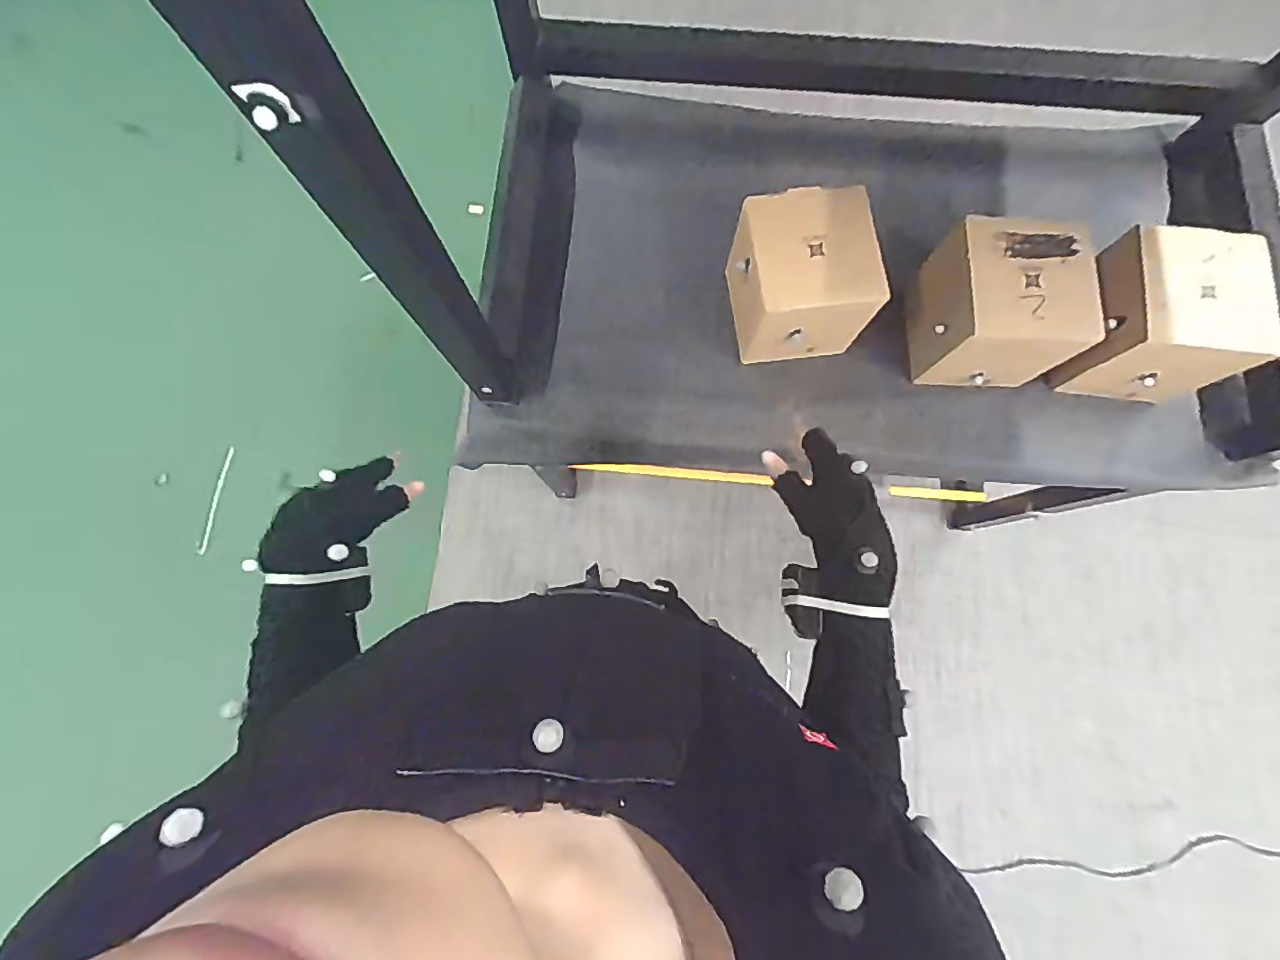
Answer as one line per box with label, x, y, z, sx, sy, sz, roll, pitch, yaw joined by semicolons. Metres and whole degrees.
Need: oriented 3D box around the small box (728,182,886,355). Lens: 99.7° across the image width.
small box;0.231;-0.294;0.791;0.168;0.176;0.179;-6;78;-1
